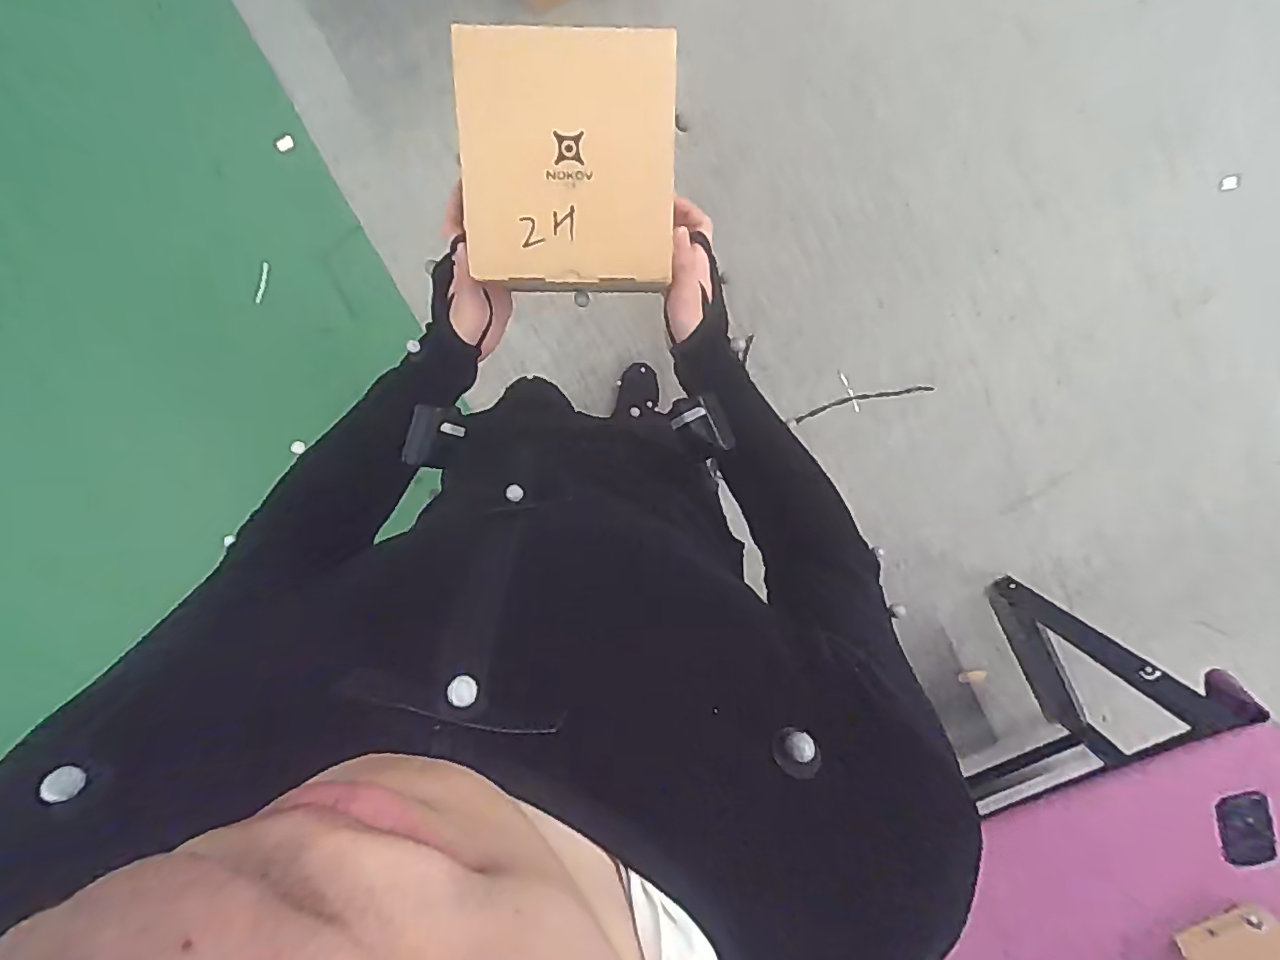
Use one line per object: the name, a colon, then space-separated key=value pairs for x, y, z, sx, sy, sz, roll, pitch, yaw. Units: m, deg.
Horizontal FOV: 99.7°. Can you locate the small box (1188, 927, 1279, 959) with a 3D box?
small box: x=1.137 y=0.936 z=0.947 sx=0.168 sy=0.176 sz=0.179 roll=-33 pitch=100 yaw=9

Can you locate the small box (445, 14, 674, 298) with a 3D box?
small box: x=-0.062 y=-0.263 z=0.482 sx=0.168 sy=0.176 sz=0.179 roll=1 pitch=105 yaw=-1
